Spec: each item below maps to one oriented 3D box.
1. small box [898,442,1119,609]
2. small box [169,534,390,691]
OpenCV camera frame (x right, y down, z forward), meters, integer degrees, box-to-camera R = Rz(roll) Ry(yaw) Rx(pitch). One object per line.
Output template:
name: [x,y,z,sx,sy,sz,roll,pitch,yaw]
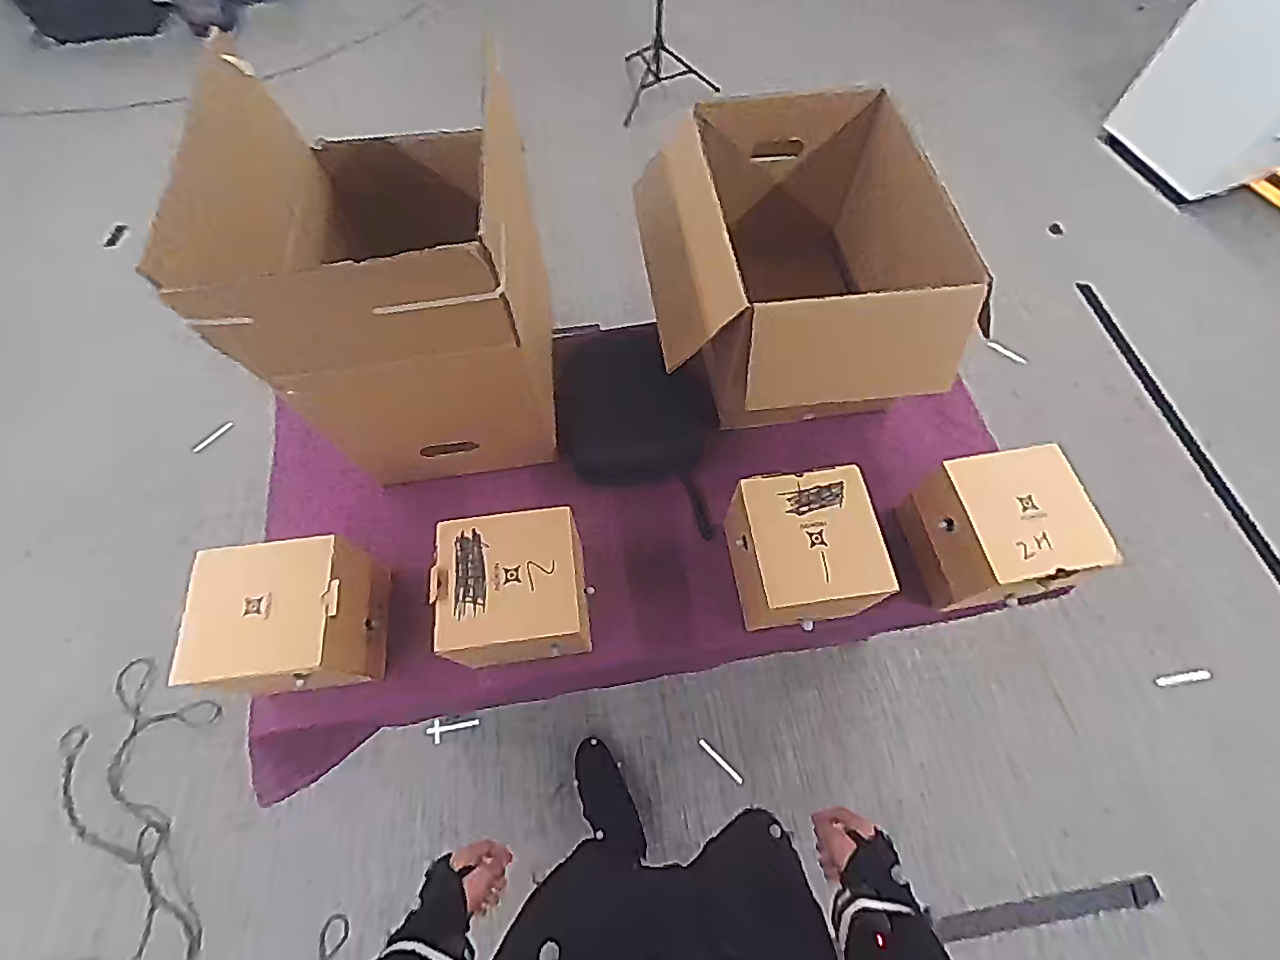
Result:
small box: [0.501,0.070,0.771,0.168,0.176,0.179,-9,65,-2]
small box: [-0.465,0.185,0.731,0.179,0.176,0.168,-6,65,-4]
